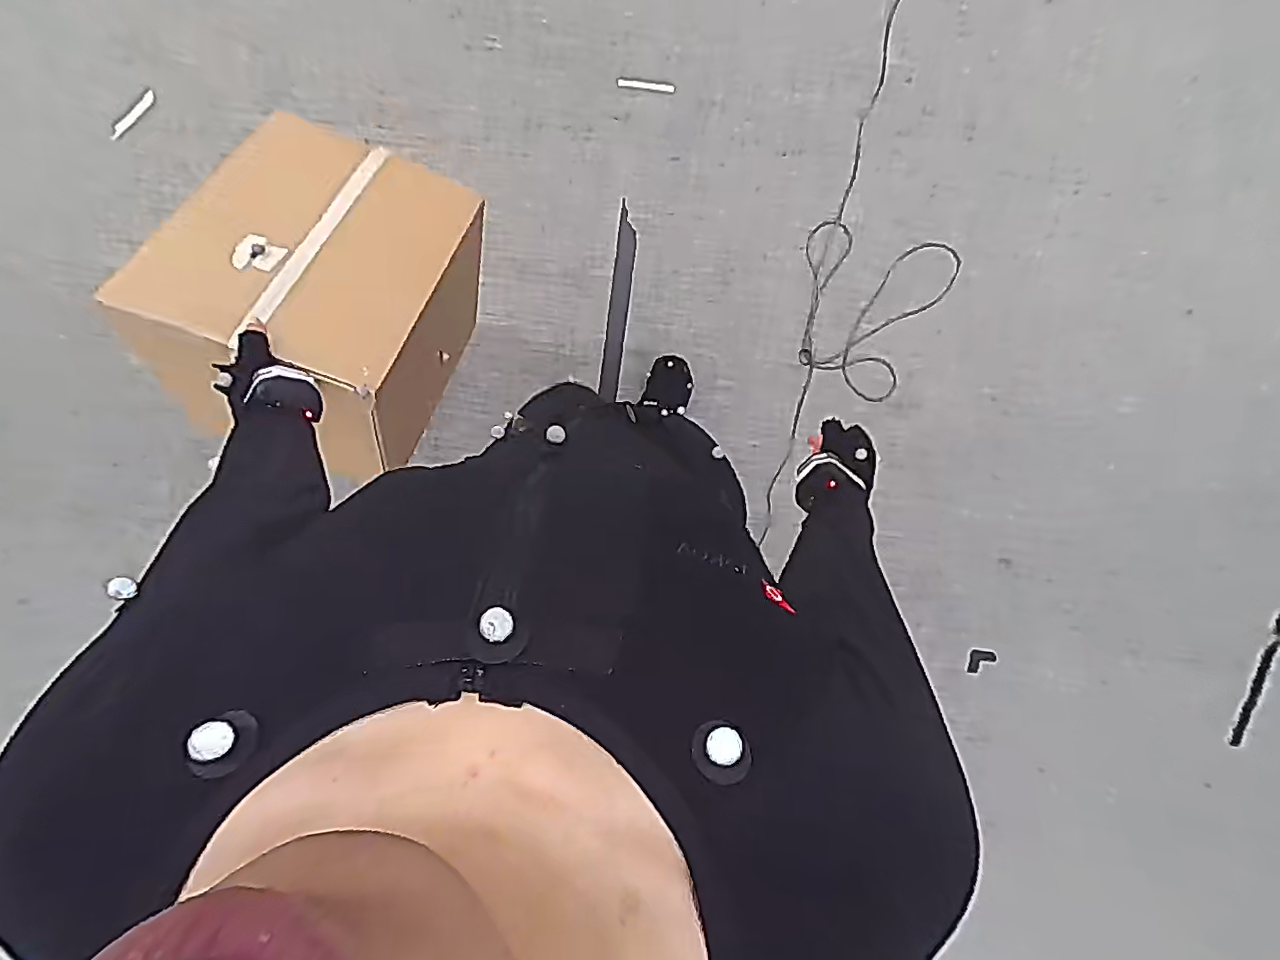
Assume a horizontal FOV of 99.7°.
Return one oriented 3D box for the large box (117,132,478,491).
[{"bbox_3d":[-0.480,-0.253,0.878,0.320,0.320,0.408,18,60,-9],"label":"large box"}]
